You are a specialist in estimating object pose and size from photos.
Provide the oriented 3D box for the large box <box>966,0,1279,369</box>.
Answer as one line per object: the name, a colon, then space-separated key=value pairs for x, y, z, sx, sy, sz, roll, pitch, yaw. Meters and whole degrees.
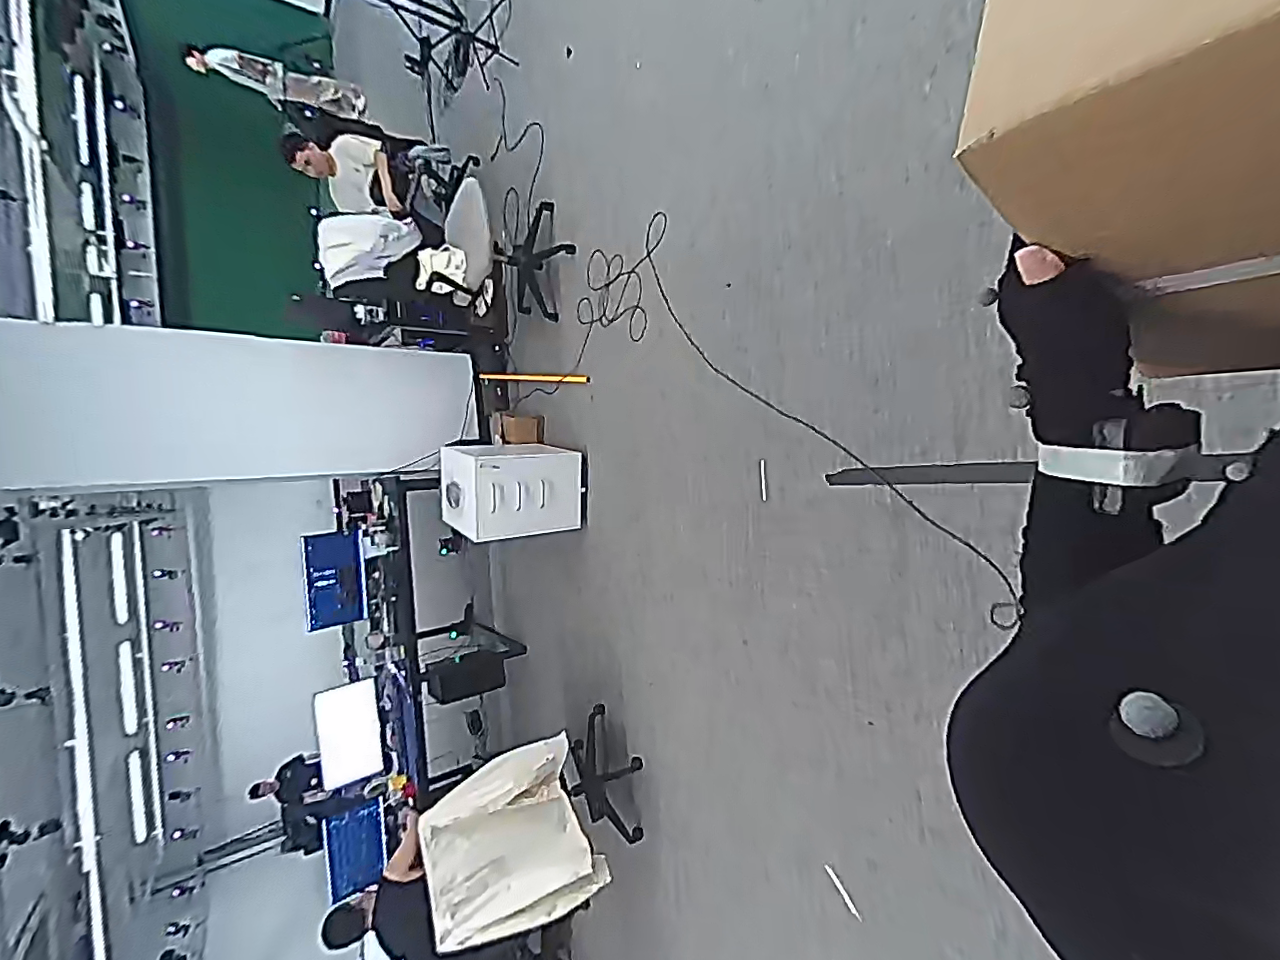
large box: x=0.417 y=-0.260 z=0.193 sx=0.408 sy=0.320 sz=0.320 roll=5 pitch=81 yaw=56
